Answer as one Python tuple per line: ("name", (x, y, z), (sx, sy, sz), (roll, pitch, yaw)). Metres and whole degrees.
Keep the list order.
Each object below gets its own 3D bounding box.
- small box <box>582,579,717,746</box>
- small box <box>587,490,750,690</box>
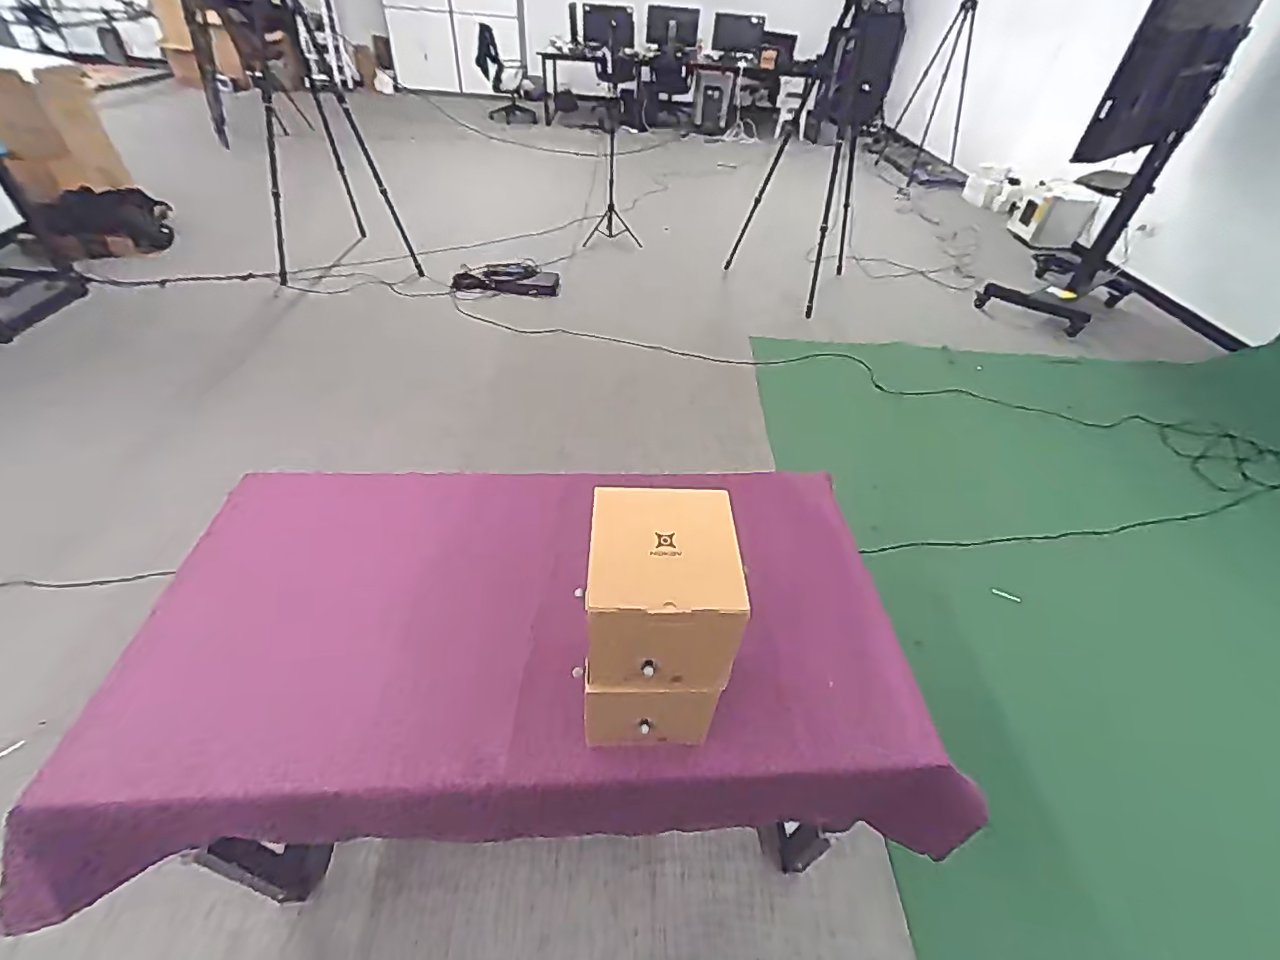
("small box", (0.007, 0.257, 0.759), (0.168, 0.176, 0.179), (1, 43, -4))
("small box", (0.022, 0.133, 0.653), (0.168, 0.176, 0.179), (1, 44, -3))
